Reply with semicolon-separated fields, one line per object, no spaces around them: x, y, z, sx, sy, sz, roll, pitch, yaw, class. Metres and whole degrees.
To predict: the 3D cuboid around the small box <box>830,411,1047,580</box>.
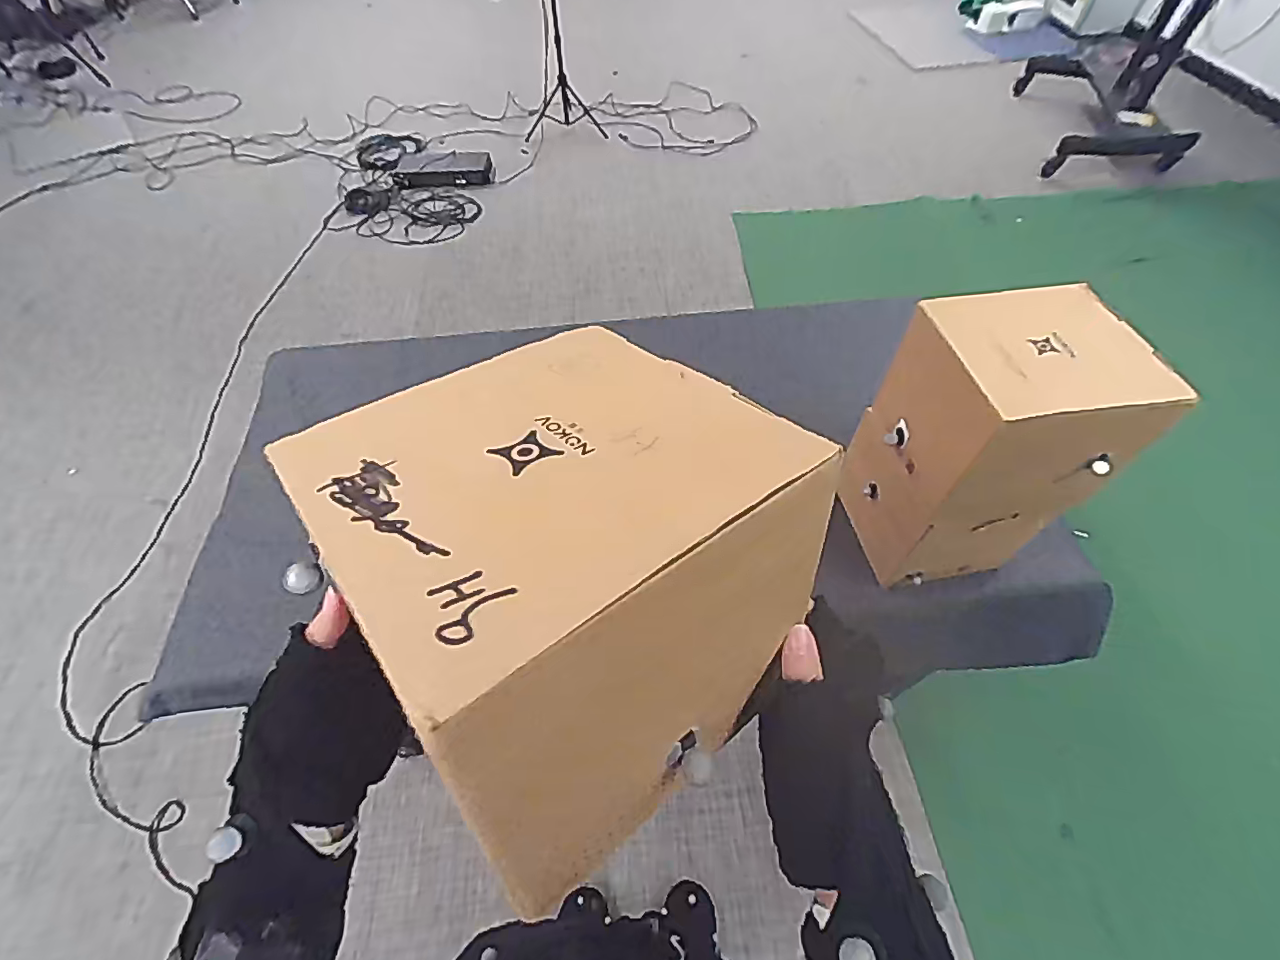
0.374;0.019;0.710;0.168;0.176;0.179;-9;54;-5;small box

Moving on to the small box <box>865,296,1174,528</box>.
0.371;-0.067;0.573;0.179;0.176;0.168;-8;53;-2;small box

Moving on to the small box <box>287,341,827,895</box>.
-0.037;0.052;0.278;0.179;0.176;0.168;-28;44;-31;small box
